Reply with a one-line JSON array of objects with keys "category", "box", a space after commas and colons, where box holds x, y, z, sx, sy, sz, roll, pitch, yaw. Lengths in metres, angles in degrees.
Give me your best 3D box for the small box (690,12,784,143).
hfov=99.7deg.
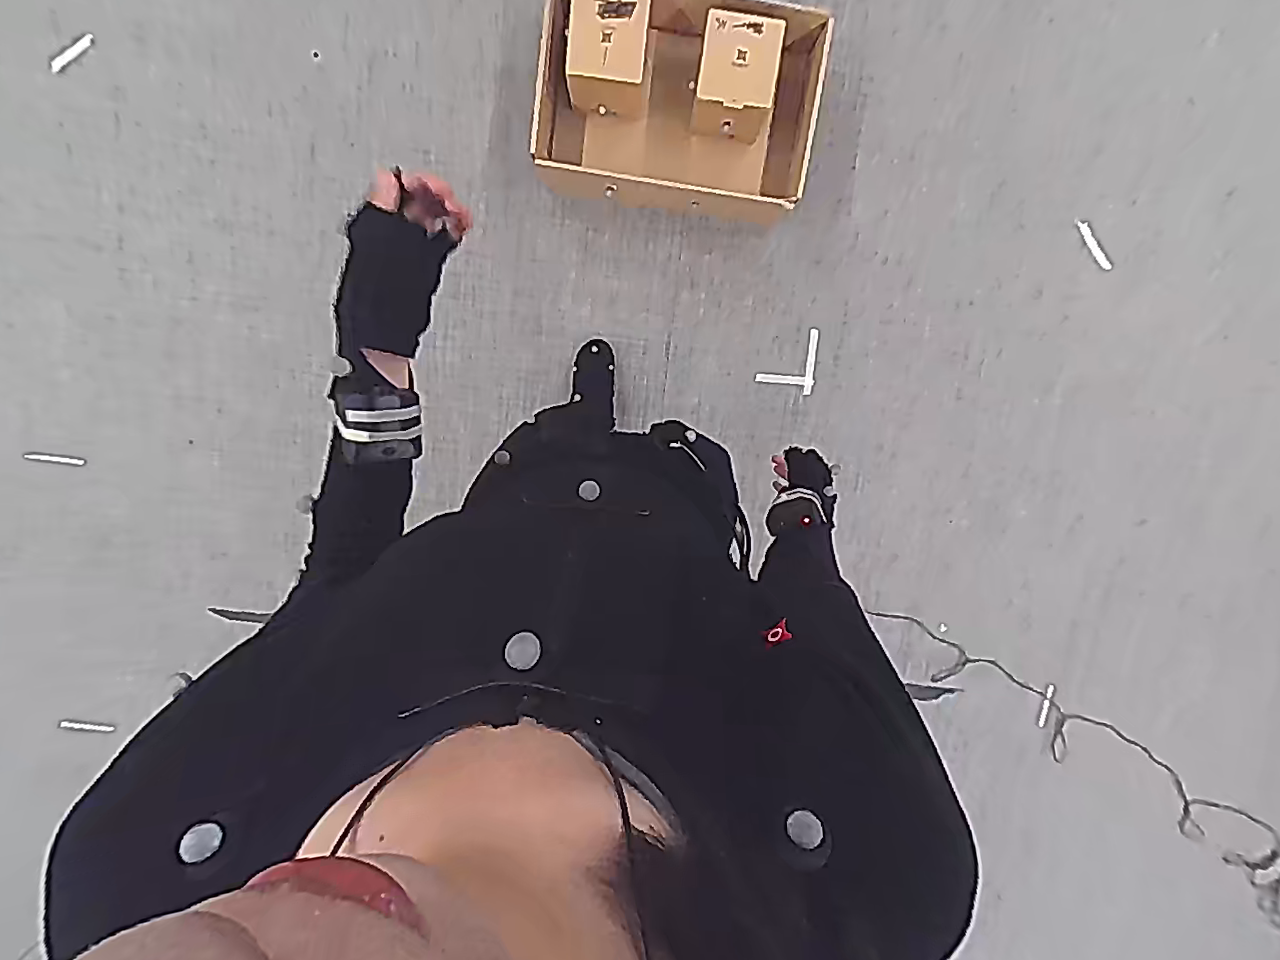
[{"category": "small box", "box": [0.210, -0.898, 1.225, 0.168, 0.176, 0.179, 9, 101, -2]}]
